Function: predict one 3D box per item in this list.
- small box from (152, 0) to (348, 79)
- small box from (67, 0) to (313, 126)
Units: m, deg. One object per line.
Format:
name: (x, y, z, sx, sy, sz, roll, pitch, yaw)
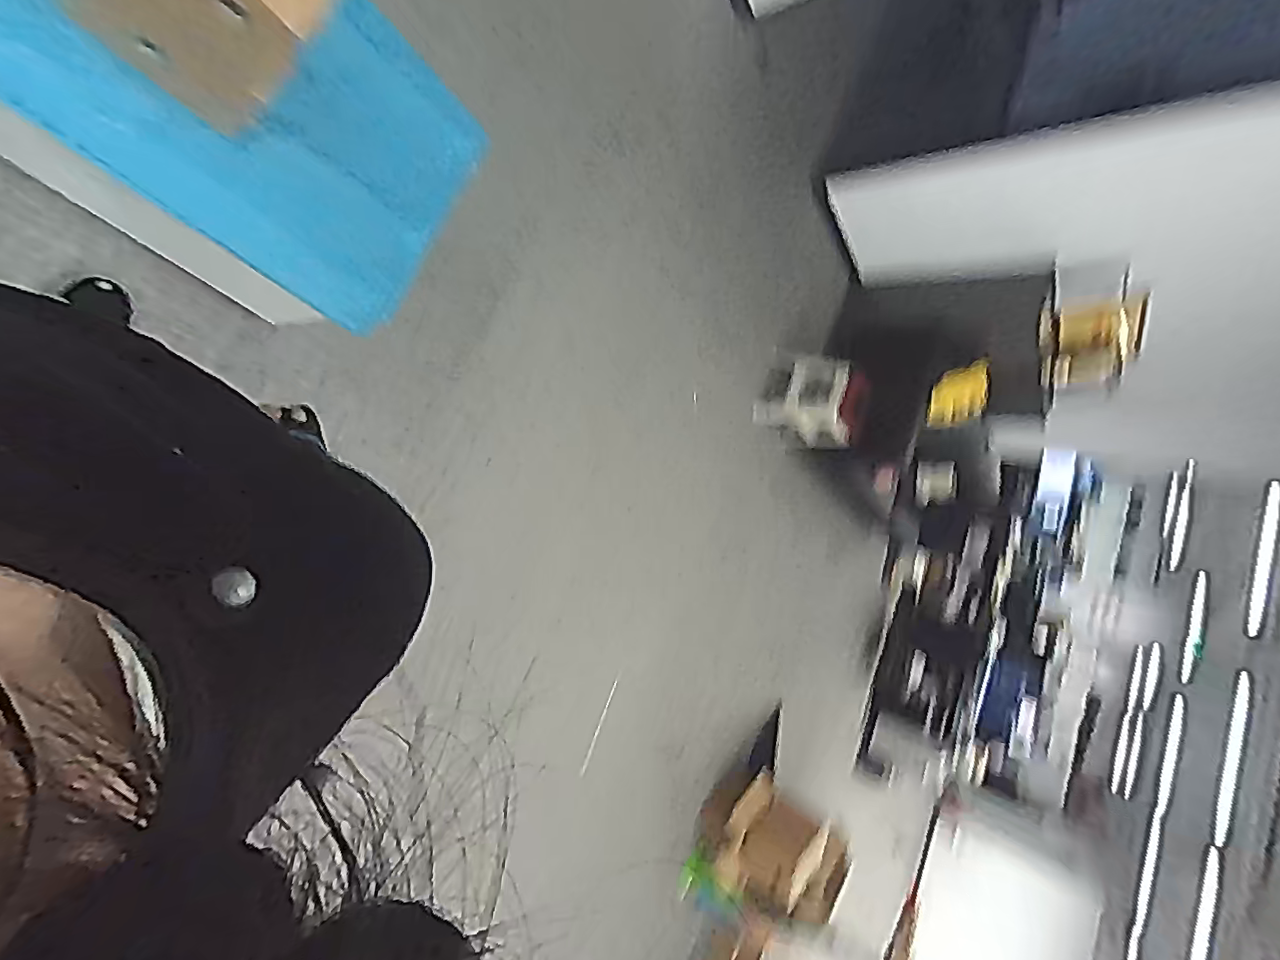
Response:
small box: (-0.378, -0.521, 0.505, 0.179, 0.176, 0.168, 37, 71, -47)
small box: (-0.495, -0.544, 0.619, 0.179, 0.176, 0.168, 37, 71, -47)
